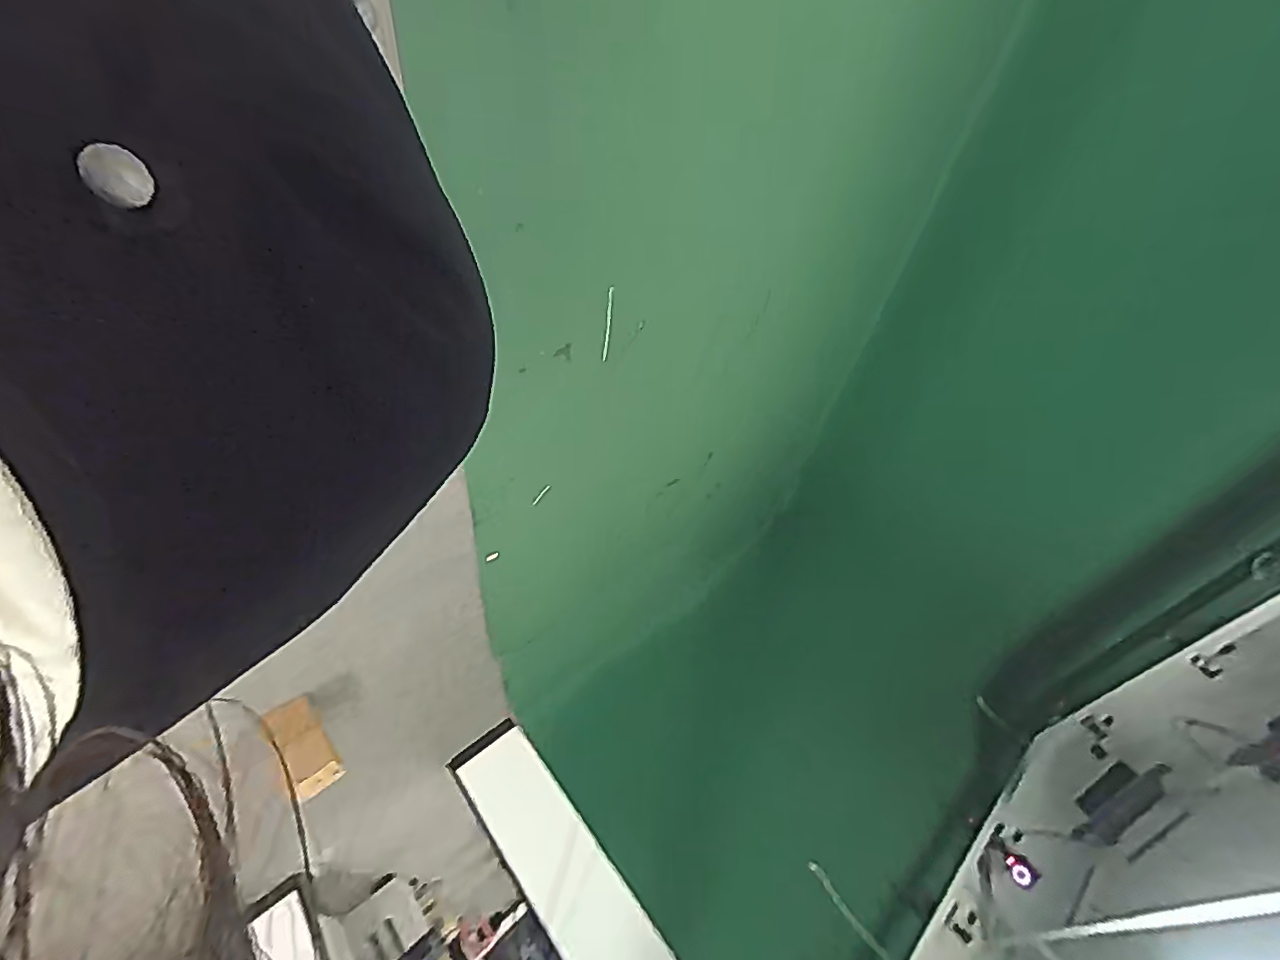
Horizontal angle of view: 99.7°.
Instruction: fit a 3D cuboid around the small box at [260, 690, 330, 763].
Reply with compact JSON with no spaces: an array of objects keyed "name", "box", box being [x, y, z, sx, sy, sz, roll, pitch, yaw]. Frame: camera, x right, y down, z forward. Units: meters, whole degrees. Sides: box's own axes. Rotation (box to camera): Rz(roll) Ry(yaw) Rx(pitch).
[{"name":"small box","box":[-1.388,0.983,2.167,0.179,0.176,0.168,-31,148,-31]}]
